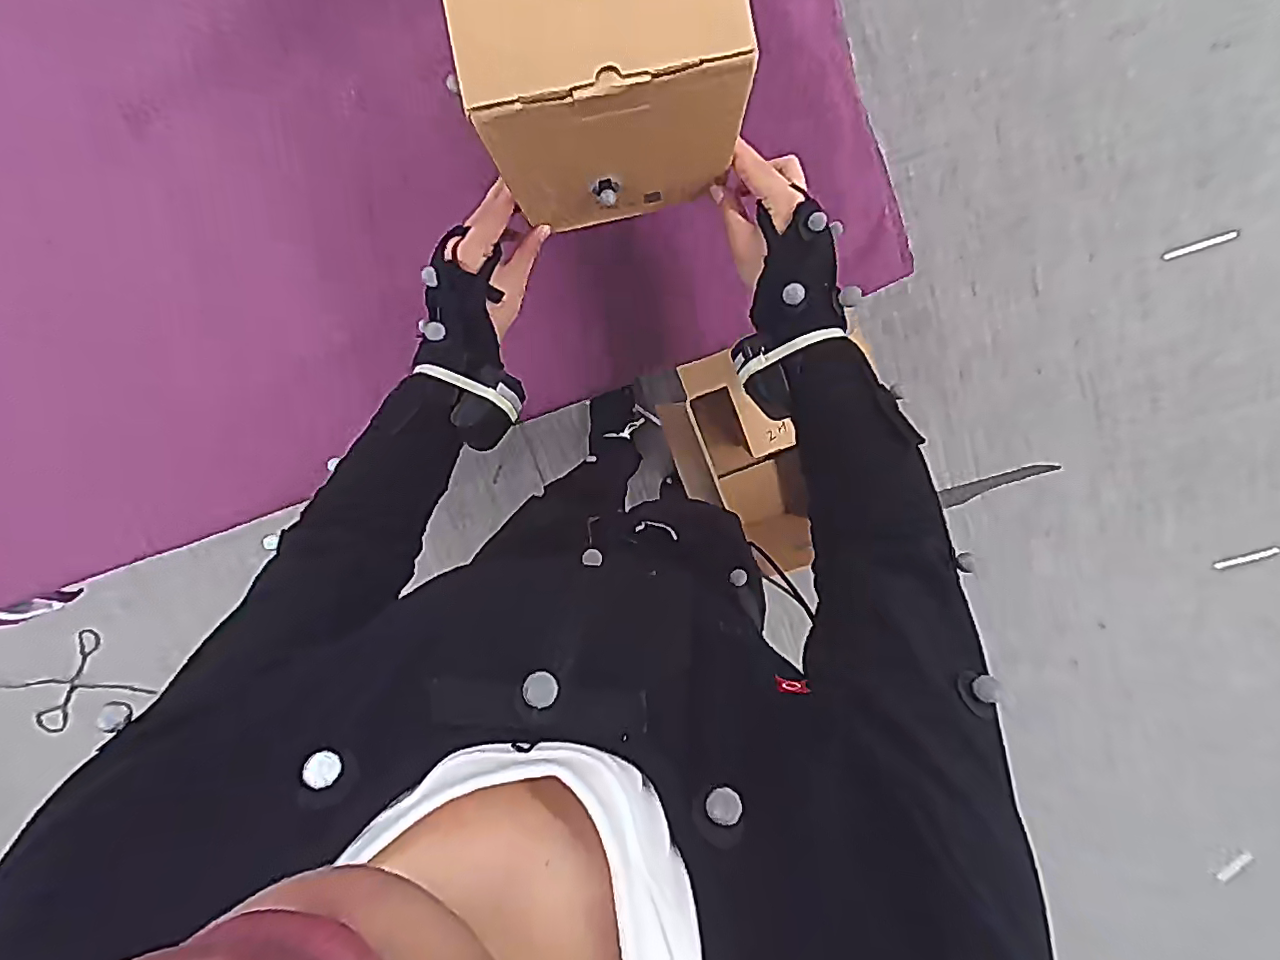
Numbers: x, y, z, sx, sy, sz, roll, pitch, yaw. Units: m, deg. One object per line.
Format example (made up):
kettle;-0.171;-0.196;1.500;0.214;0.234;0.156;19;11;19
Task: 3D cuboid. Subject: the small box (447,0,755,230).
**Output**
small box;-0.029;-0.306;0.375;0.168;0.176;0.179;-11;92;3
